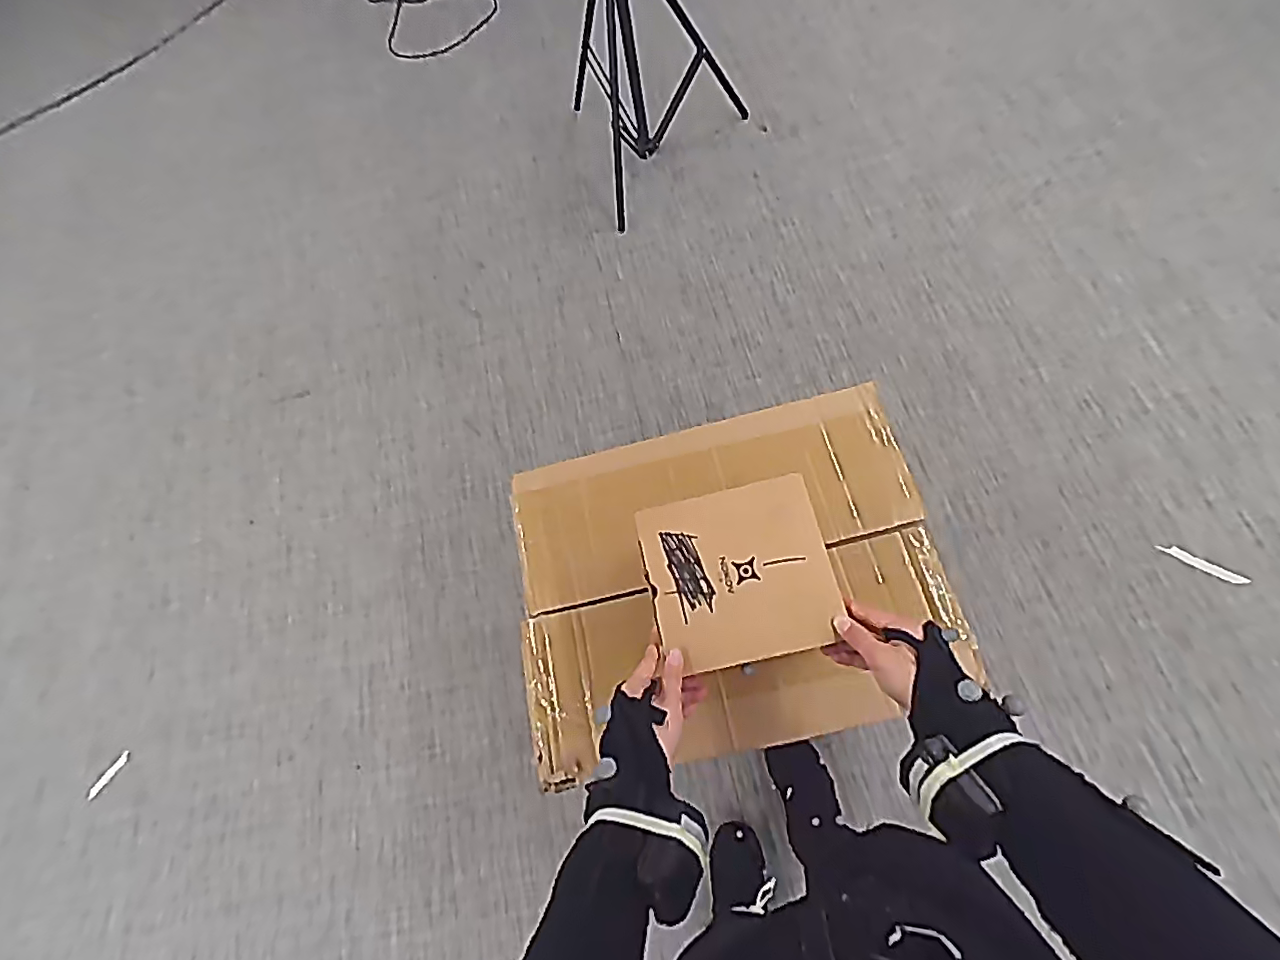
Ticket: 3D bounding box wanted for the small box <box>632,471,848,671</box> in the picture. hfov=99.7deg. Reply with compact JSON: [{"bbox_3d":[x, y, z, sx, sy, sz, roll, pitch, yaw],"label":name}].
[{"bbox_3d":[0.102,0.109,0.594,0.179,0.176,0.168,-14,71,4],"label":"small box"}]
